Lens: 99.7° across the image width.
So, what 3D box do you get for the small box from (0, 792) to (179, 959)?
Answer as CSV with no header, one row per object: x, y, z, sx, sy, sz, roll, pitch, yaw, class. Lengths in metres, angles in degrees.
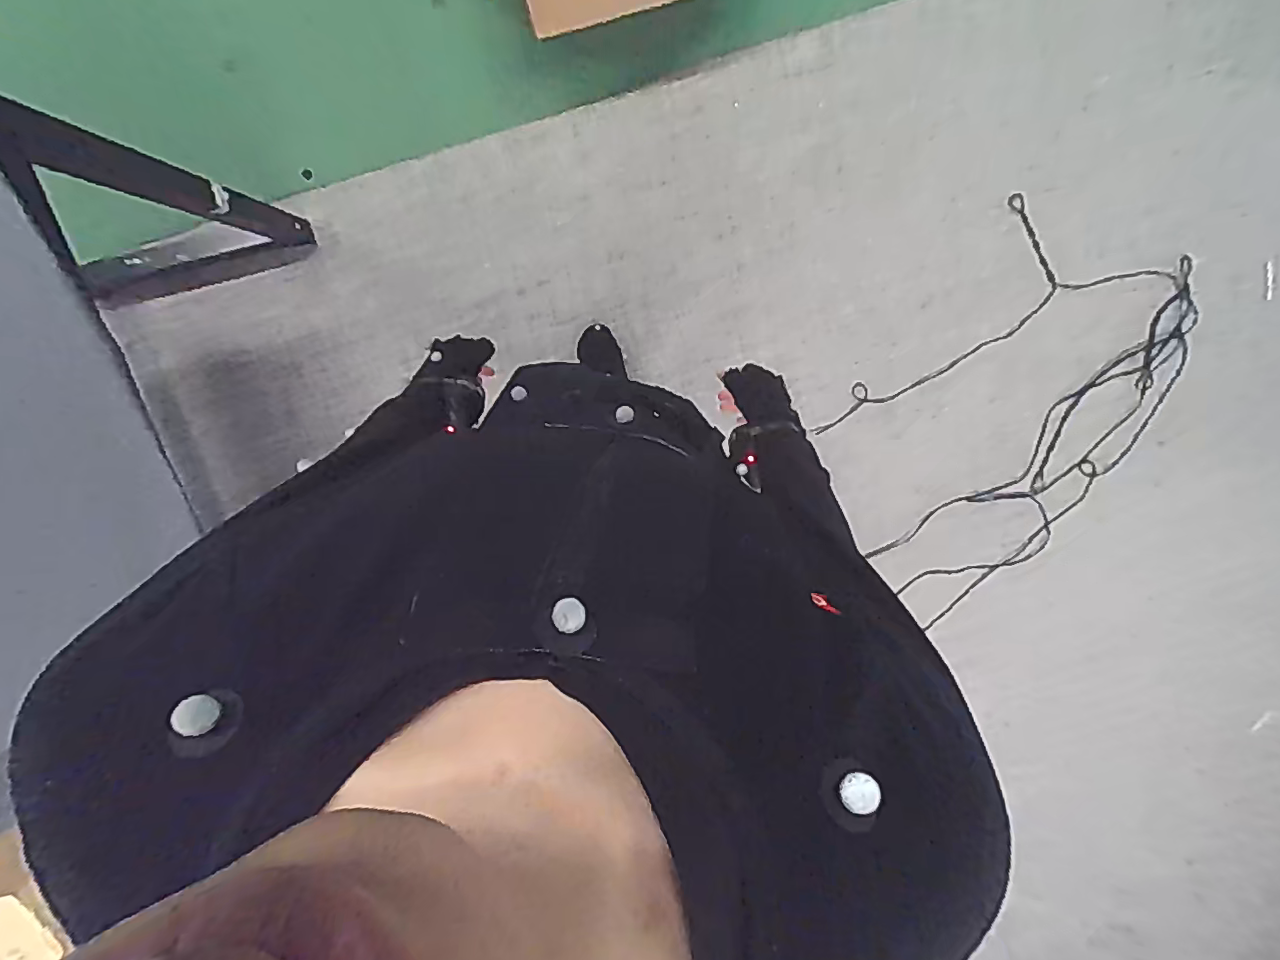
-0.802,0.570,0.738,0.179,0.176,0.168,-15,103,1,small box
